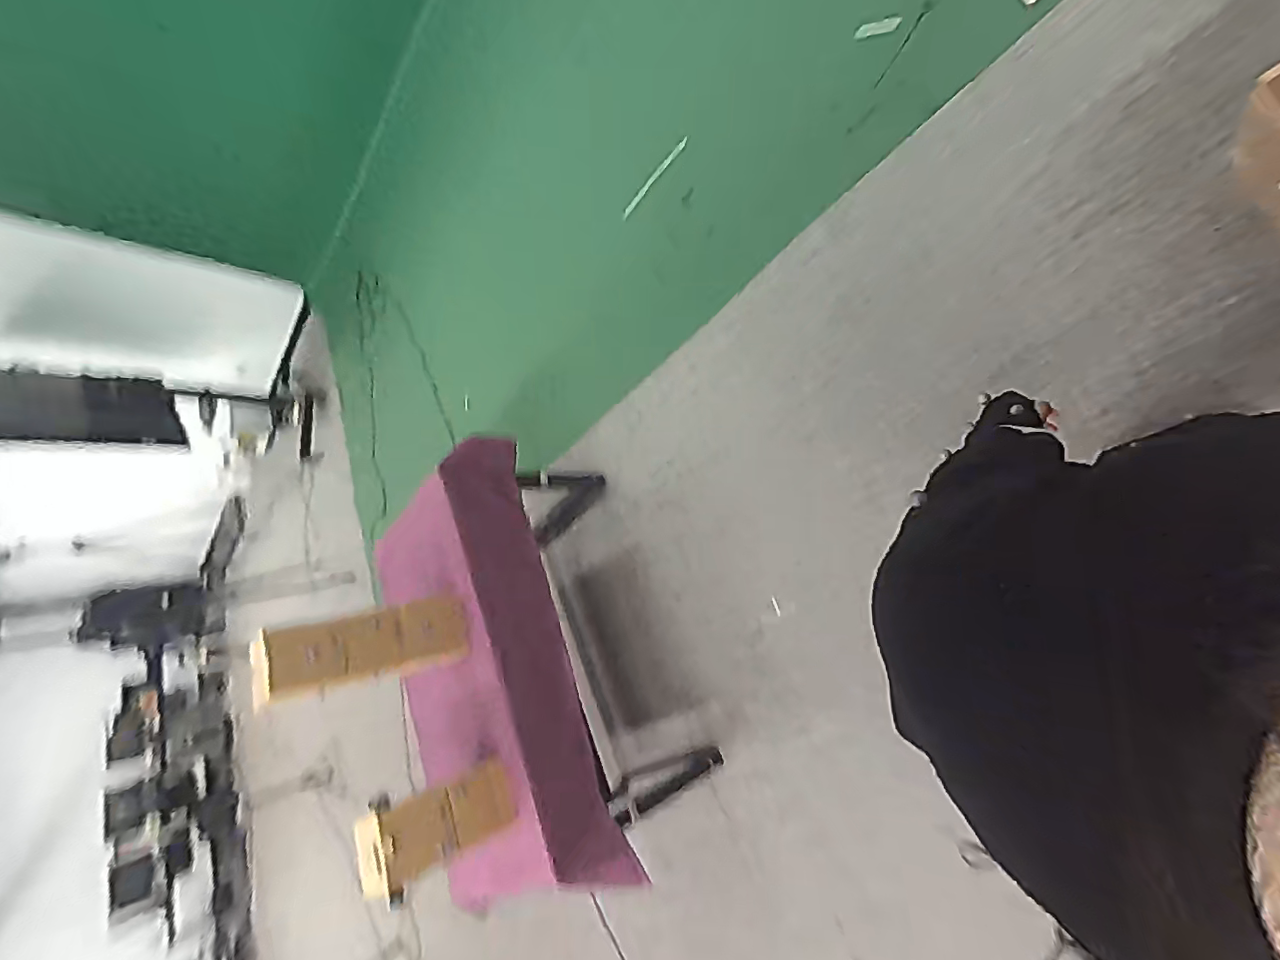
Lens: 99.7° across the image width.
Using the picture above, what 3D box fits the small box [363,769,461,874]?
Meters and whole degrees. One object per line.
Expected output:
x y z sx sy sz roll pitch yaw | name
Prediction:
-0.558 0.836 1.332 0.179 0.176 0.168 -40 62 38 | small box

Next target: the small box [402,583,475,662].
-0.614 0.423 1.618 0.168 0.176 0.179 -33 68 38 | small box

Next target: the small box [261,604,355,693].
-0.848 0.428 1.389 0.179 0.176 0.168 -34 66 38 | small box

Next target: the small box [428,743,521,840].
-0.441 0.834 1.448 0.168 0.176 0.179 -38 63 37 | small box

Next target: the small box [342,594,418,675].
-0.733 0.426 1.507 0.179 0.176 0.168 -33 67 40 | small box
